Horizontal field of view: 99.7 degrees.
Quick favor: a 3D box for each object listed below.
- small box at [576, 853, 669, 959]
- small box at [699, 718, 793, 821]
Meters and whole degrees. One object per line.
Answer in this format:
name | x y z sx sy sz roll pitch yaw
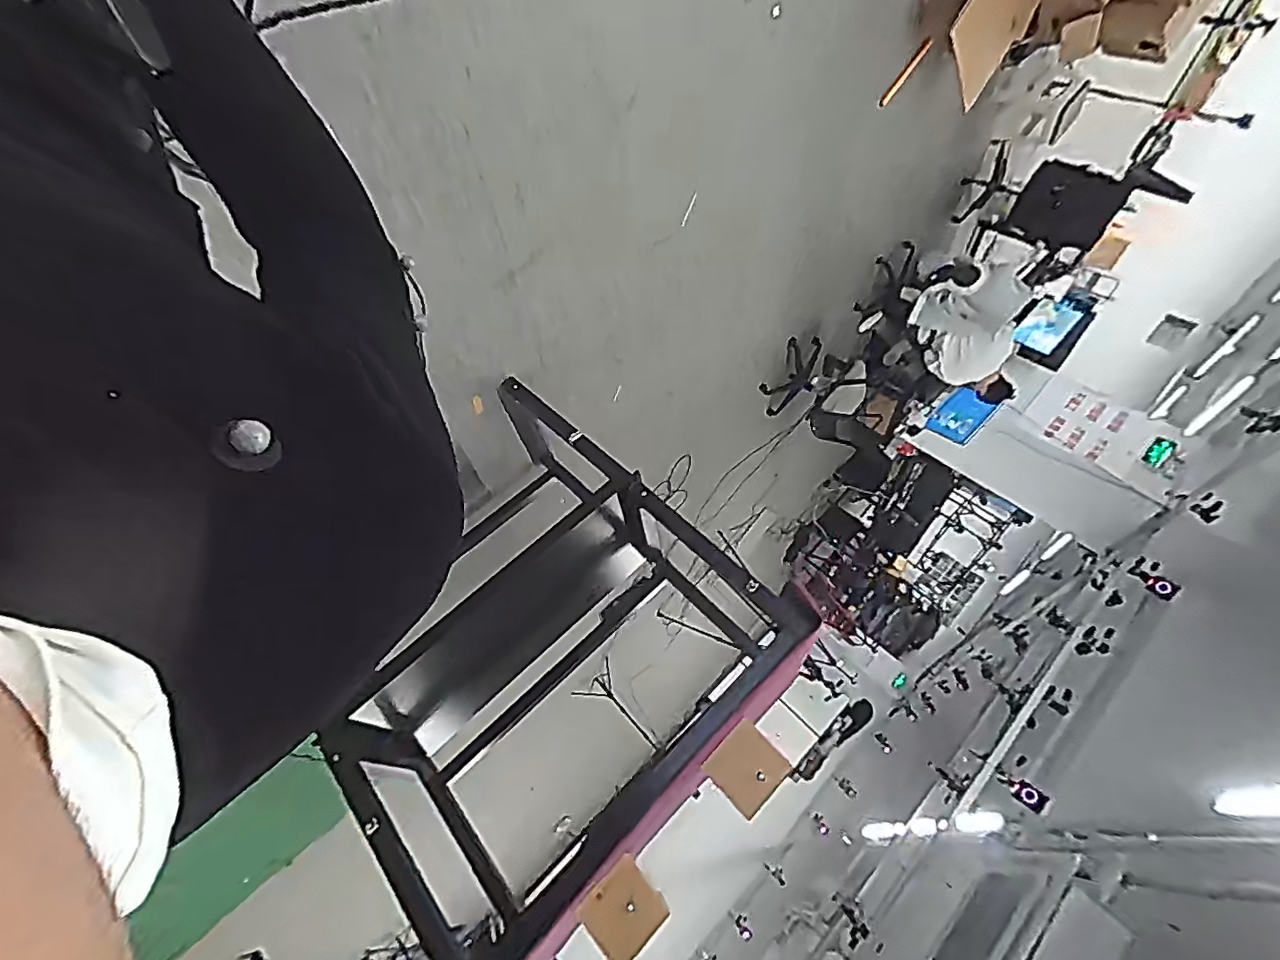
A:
small box | -0.043 1.064 1.344 0.168 0.176 0.179 -39 152 -21
small box | 0.276 0.759 1.428 0.179 0.176 0.168 -42 152 -15
